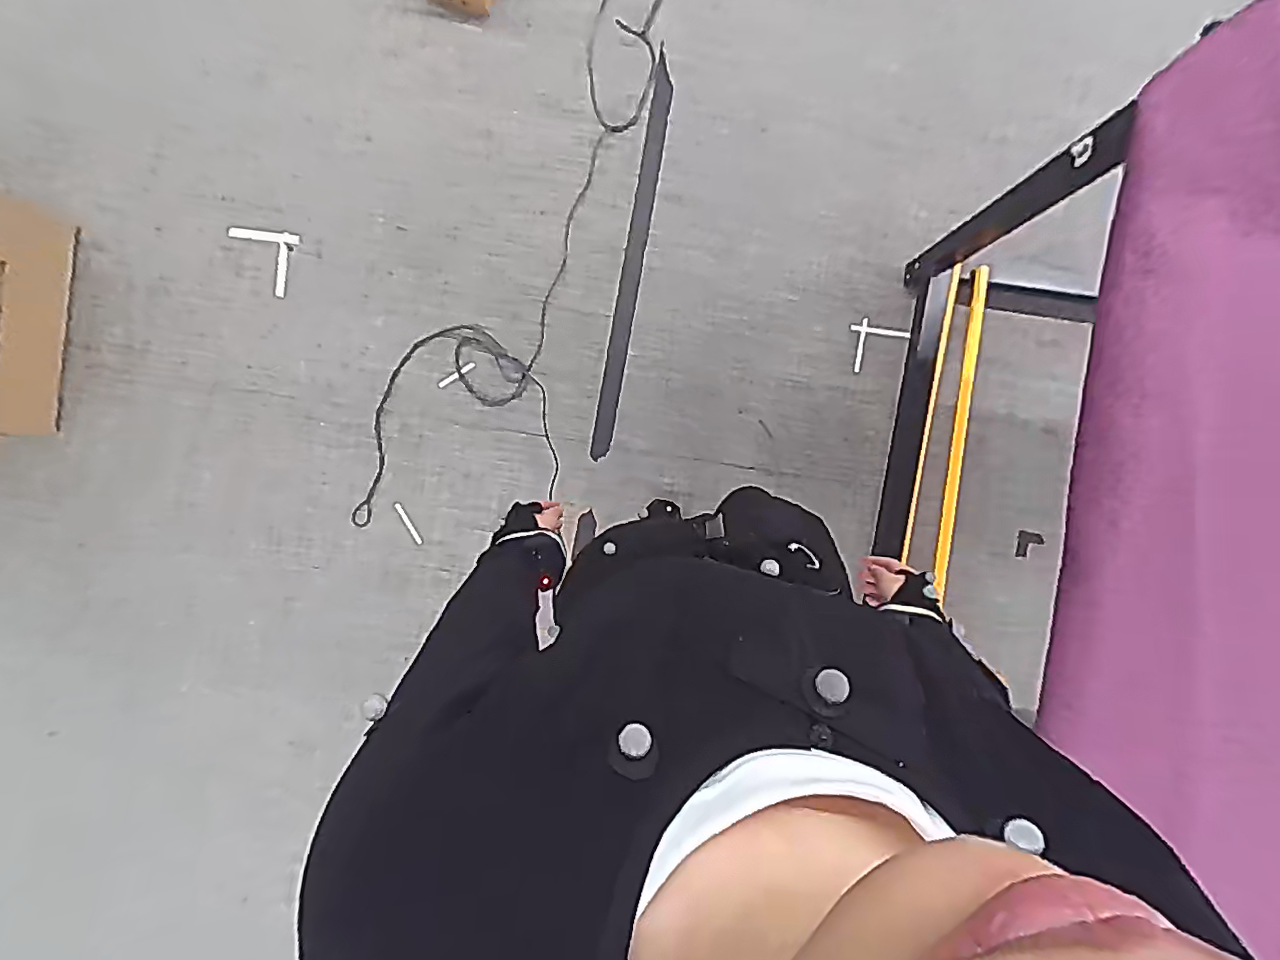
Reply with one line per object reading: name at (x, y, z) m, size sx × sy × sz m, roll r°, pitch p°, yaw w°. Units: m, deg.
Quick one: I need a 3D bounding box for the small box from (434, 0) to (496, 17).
small box at (-0.414, -1.229, 1.235) m, size 0.168 × 0.176 × 0.179 m, roll 16°, pitch 93°, yaw 0°
